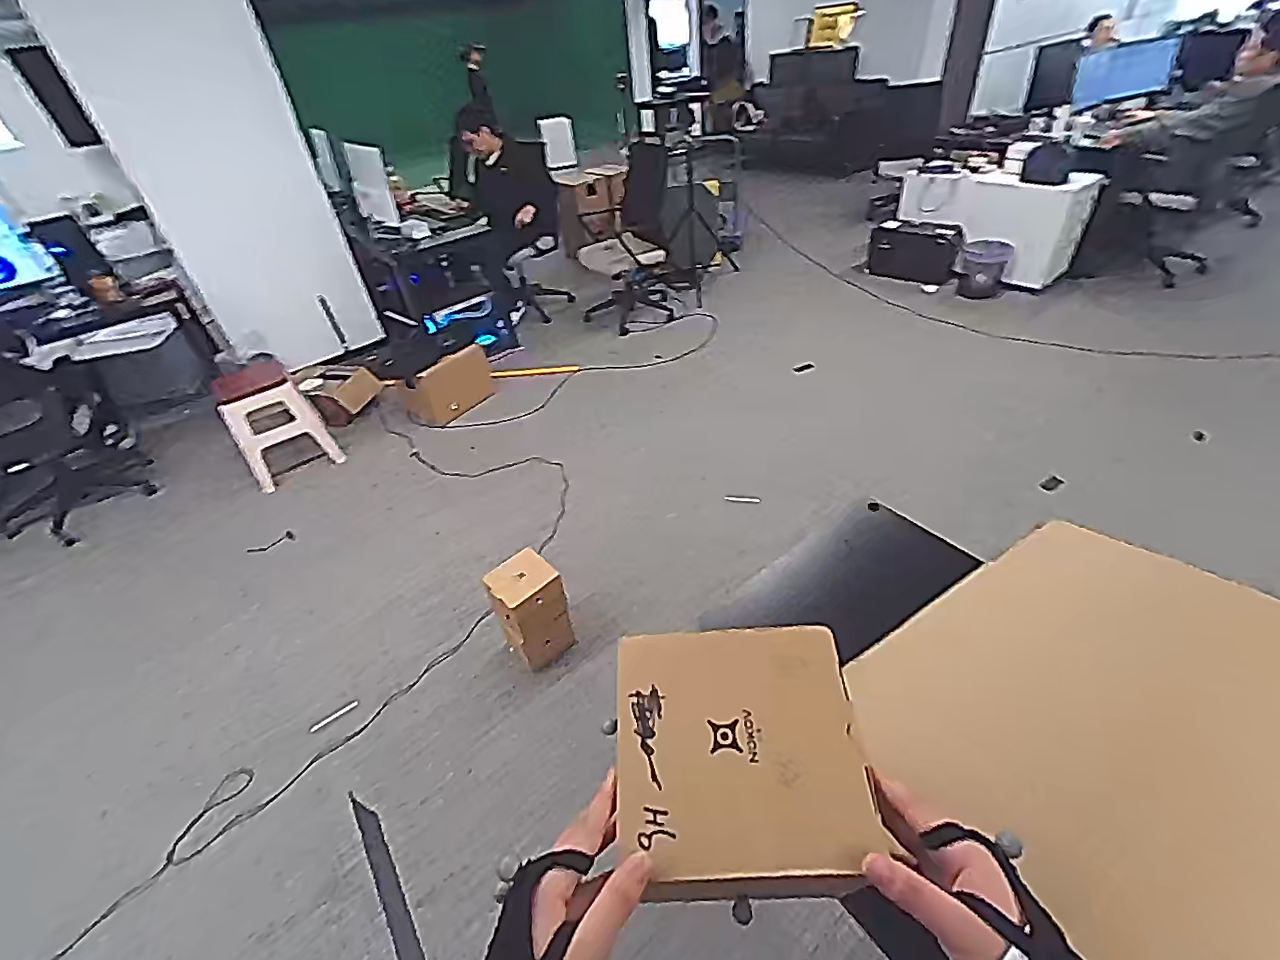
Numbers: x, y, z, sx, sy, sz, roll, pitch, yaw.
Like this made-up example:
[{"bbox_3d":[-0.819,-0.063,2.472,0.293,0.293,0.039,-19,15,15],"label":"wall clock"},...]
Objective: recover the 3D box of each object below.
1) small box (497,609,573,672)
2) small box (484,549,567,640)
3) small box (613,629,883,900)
[{"bbox_3d":[-0.333,0.478,1.752,0.179,0.176,0.168,-33,46,-27],"label":"small box"},{"bbox_3d":[-0.343,0.350,1.651,0.179,0.176,0.168,-34,47,-30],"label":"small box"},{"bbox_3d":[0.070,0.240,0.455,0.179,0.176,0.168,-3,47,1],"label":"small box"}]
